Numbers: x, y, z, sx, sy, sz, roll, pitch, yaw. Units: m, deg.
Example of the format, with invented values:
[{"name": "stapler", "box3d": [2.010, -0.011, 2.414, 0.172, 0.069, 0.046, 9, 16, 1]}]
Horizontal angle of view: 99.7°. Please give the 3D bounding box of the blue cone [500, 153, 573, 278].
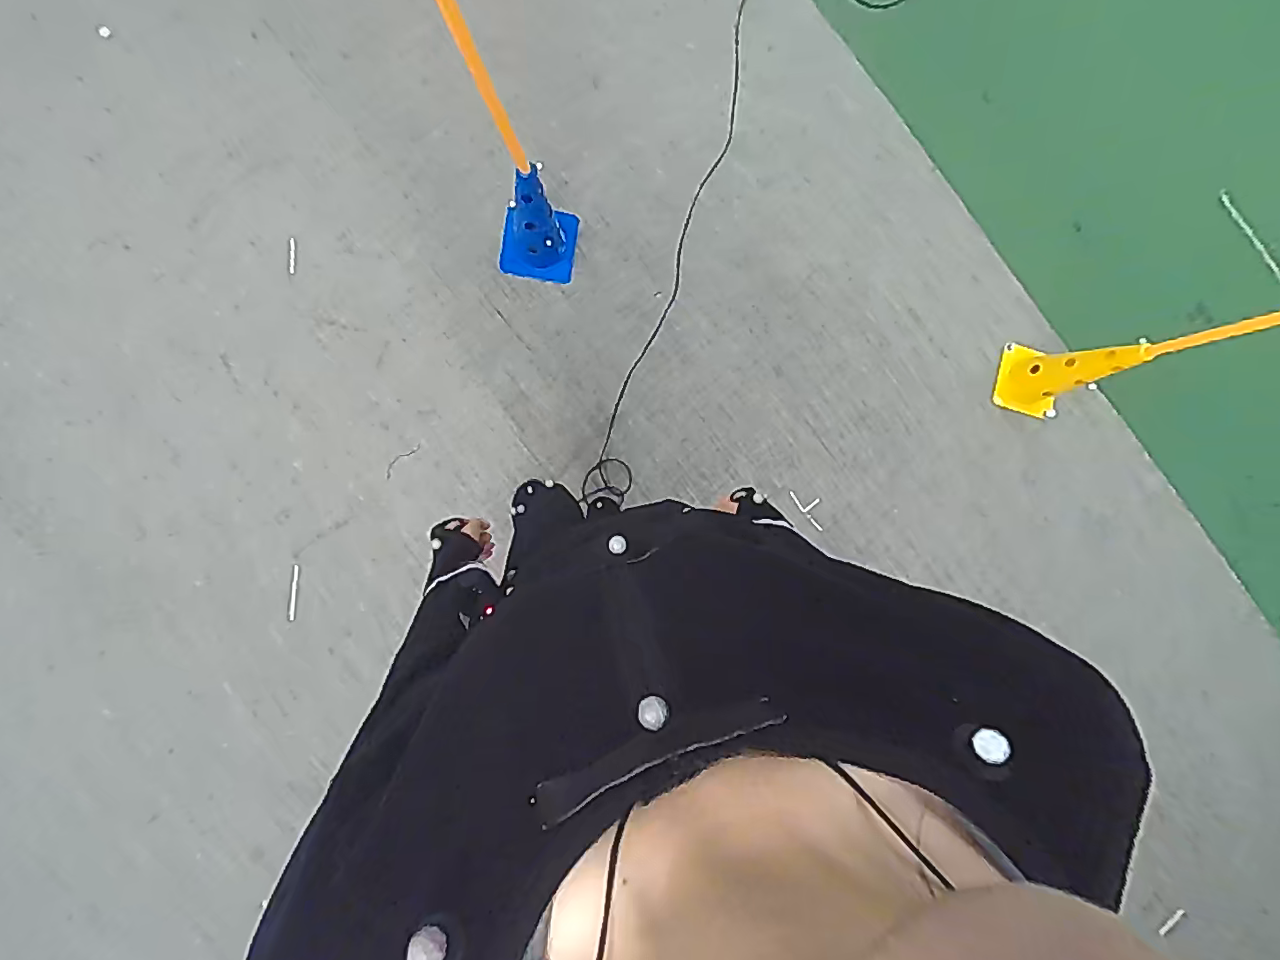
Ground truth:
[{"name": "blue cone", "box3d": [-0.269, -0.653, 1.311, 0.193, 0.380, 0.192, 7, 89, -5]}]
